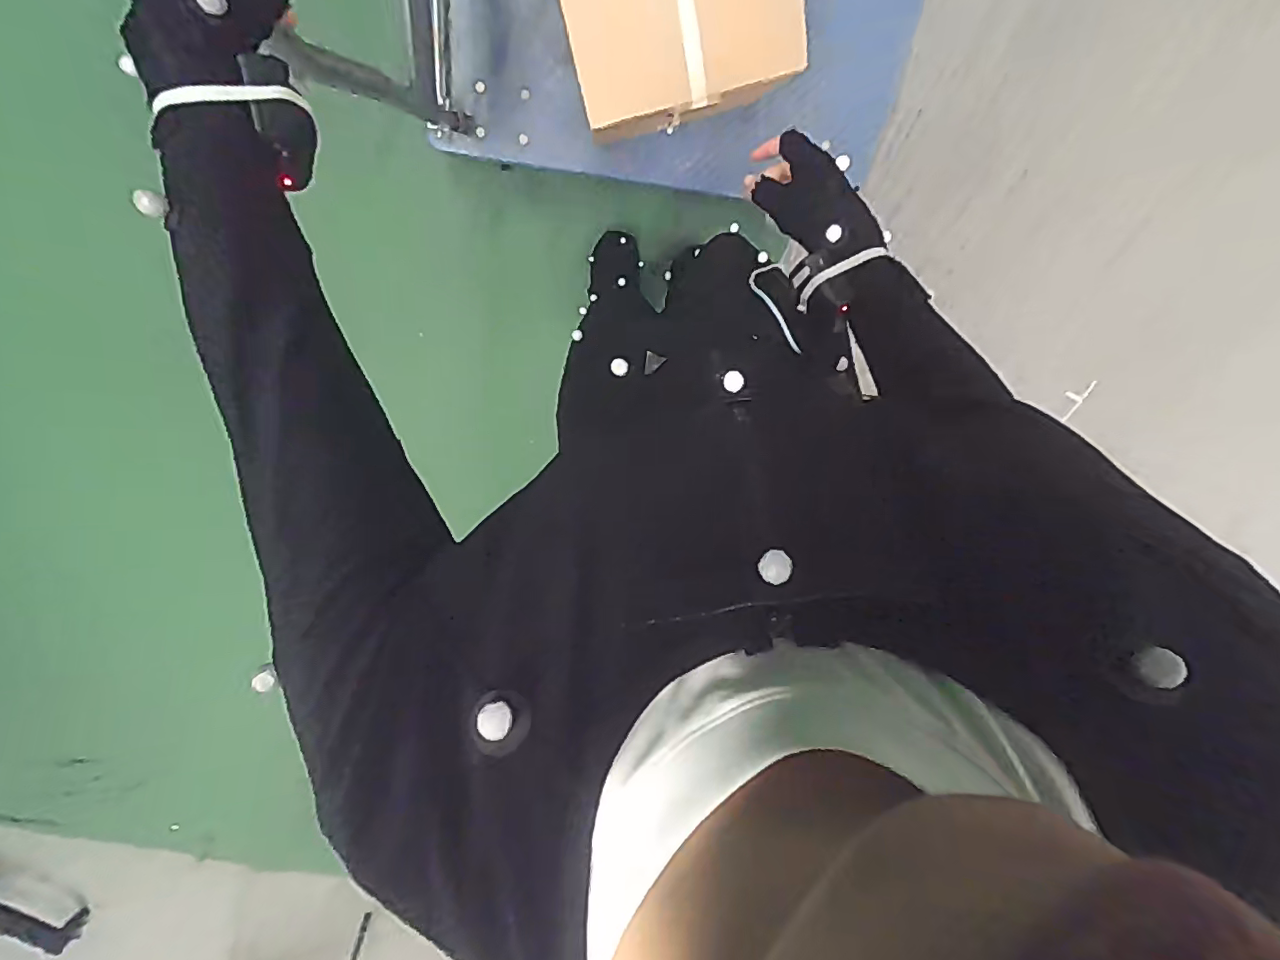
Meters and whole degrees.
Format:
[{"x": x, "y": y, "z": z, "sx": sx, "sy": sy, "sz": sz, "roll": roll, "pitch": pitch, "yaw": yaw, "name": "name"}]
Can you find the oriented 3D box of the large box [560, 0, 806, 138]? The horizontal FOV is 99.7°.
[{"x": 0.029, "y": -0.781, "z": 0.791, "sx": 0.320, "sy": 0.320, "sz": 0.408, "roll": -12, "pitch": 118, "yaw": 4, "name": "large box"}]
